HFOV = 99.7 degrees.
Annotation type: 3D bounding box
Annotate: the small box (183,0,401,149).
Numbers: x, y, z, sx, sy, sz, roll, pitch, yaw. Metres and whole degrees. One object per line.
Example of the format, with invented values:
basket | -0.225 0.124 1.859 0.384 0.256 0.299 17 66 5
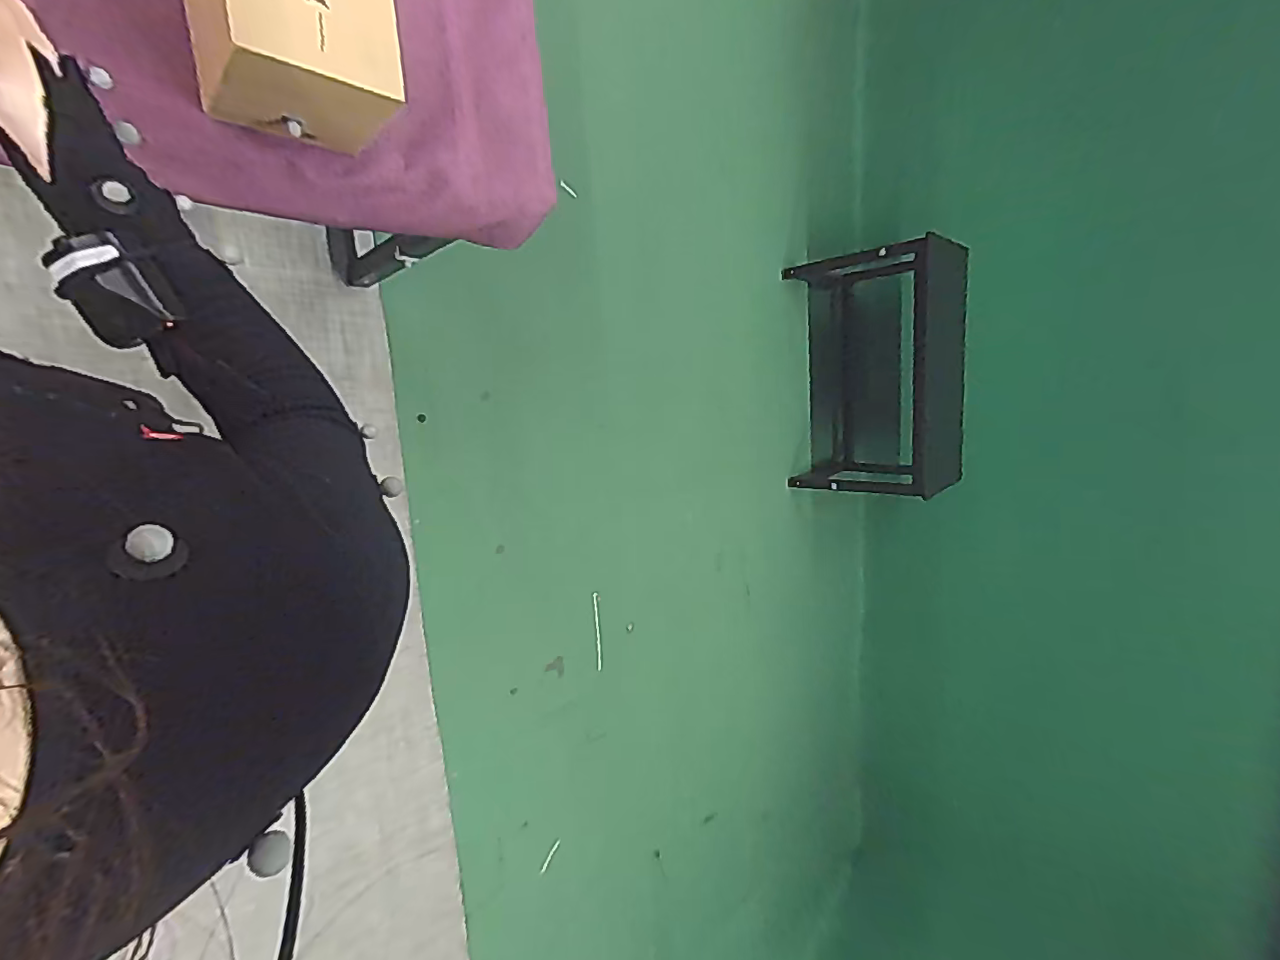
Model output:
small box | -0.393 -0.512 0.605 0.168 0.176 0.179 -13 103 -45
